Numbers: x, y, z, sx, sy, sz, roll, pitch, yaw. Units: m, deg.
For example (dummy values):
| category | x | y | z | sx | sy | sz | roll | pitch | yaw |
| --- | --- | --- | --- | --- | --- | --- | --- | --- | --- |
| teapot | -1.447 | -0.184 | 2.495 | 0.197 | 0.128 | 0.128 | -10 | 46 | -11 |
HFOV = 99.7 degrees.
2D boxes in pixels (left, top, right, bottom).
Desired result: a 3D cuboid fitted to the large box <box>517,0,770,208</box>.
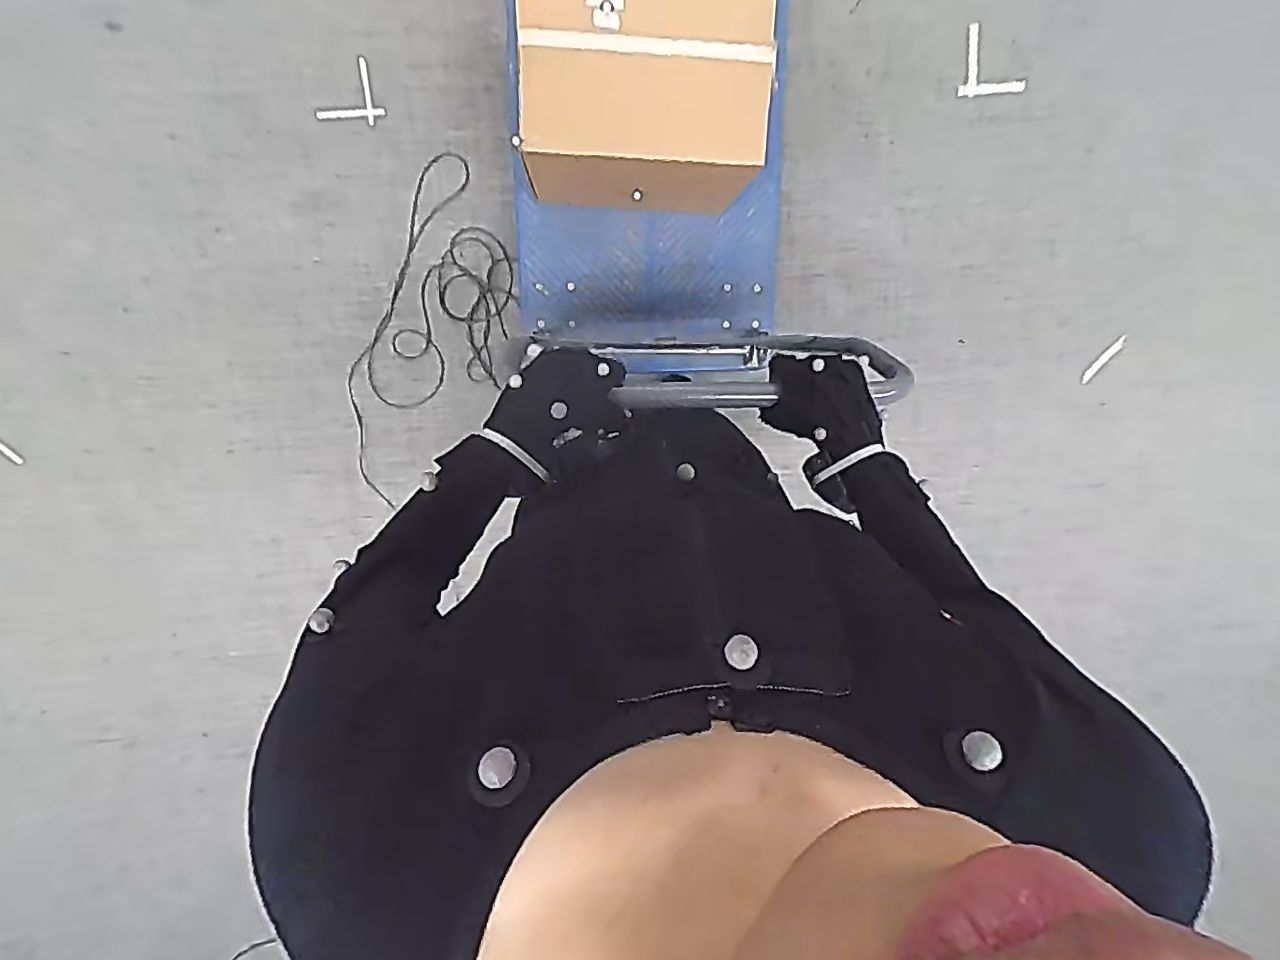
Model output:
| category | x | y | z | sx | sy | sz | roll | pitch | yaw |
| --- | --- | --- | --- | --- | --- | --- | --- | --- | --- |
| large box | -0.002 | -0.710 | 1.000 | 0.408 | 0.320 | 0.320 | 1 | 102 | -4 |
